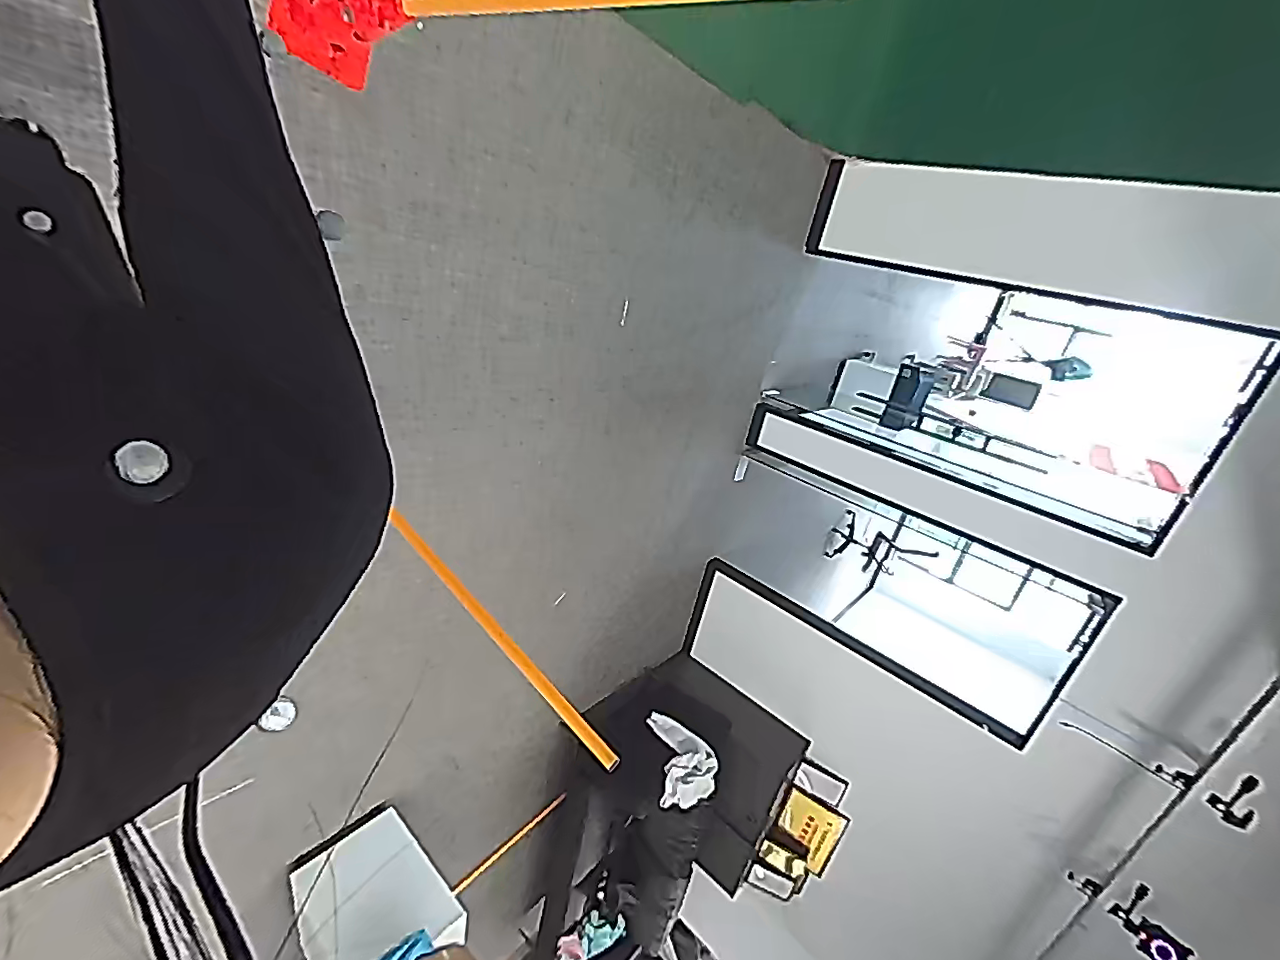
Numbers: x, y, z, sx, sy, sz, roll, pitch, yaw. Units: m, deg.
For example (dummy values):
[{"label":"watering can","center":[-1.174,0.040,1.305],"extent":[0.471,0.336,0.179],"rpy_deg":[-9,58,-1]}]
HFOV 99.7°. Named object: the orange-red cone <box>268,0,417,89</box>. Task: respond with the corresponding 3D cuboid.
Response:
[{"label":"orange-red cone","center":[-0.542,-0.918,1.061],"extent":[0.198,0.360,0.199],"rpy_deg":[3,112,-54]}]
